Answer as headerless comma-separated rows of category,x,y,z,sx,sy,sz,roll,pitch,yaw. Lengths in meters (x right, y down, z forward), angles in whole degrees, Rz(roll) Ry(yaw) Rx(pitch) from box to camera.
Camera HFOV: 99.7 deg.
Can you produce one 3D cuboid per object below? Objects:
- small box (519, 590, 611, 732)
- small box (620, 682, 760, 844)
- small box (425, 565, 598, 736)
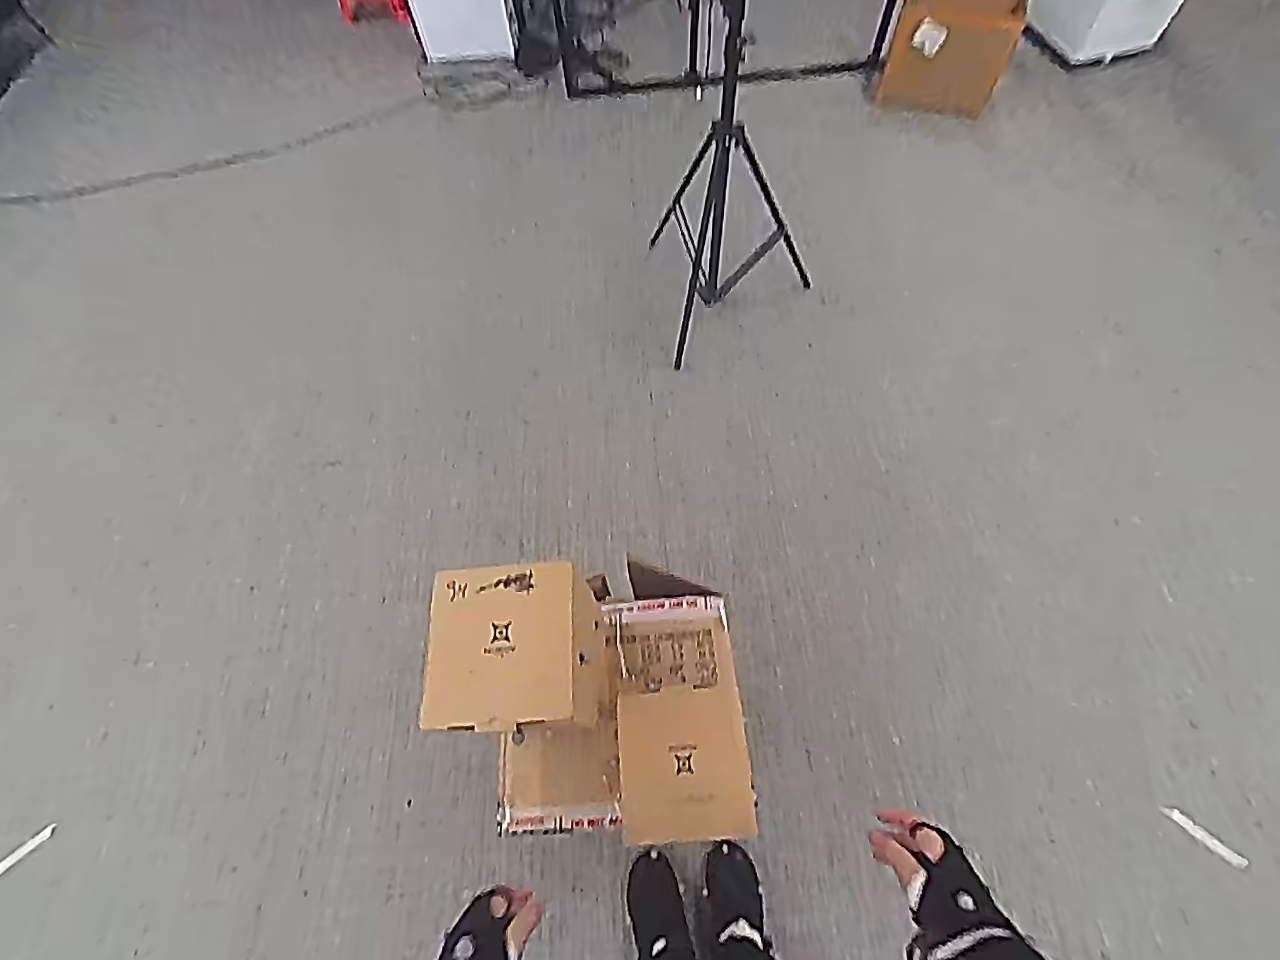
small box,-0.140,0.282,0.828,0.168,0.176,0.179,-7,64,2
small box,0.063,0.393,0.764,0.168,0.176,0.179,-6,65,1
small box,-0.146,0.218,0.677,0.168,0.176,0.179,-6,64,3
